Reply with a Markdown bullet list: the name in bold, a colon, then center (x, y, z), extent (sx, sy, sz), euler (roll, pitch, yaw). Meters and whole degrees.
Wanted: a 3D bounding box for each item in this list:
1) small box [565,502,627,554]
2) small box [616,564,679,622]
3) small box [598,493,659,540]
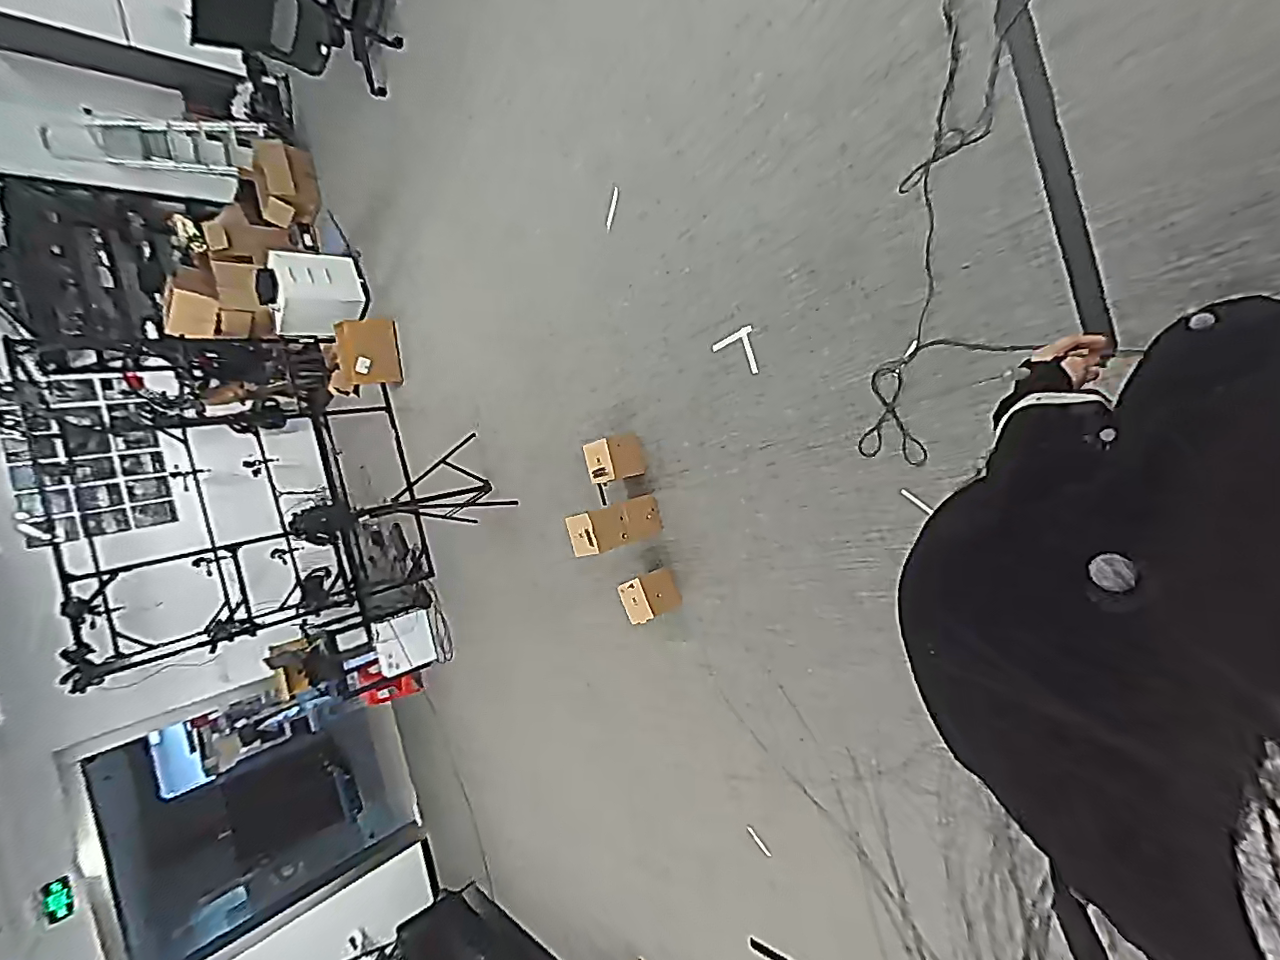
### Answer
- **small box**: center (-0.172, 0.192, 2.178), extent (0.179, 0.176, 0.168), euler (-17, 88, 50)
- **small box**: center (0.036, 0.476, 2.280), extent (0.168, 0.176, 0.179), euler (-34, 76, 47)
- **small box**: center (-0.047, 0.157, 2.279), extent (0.179, 0.176, 0.168), euler (-12, 92, 48)
